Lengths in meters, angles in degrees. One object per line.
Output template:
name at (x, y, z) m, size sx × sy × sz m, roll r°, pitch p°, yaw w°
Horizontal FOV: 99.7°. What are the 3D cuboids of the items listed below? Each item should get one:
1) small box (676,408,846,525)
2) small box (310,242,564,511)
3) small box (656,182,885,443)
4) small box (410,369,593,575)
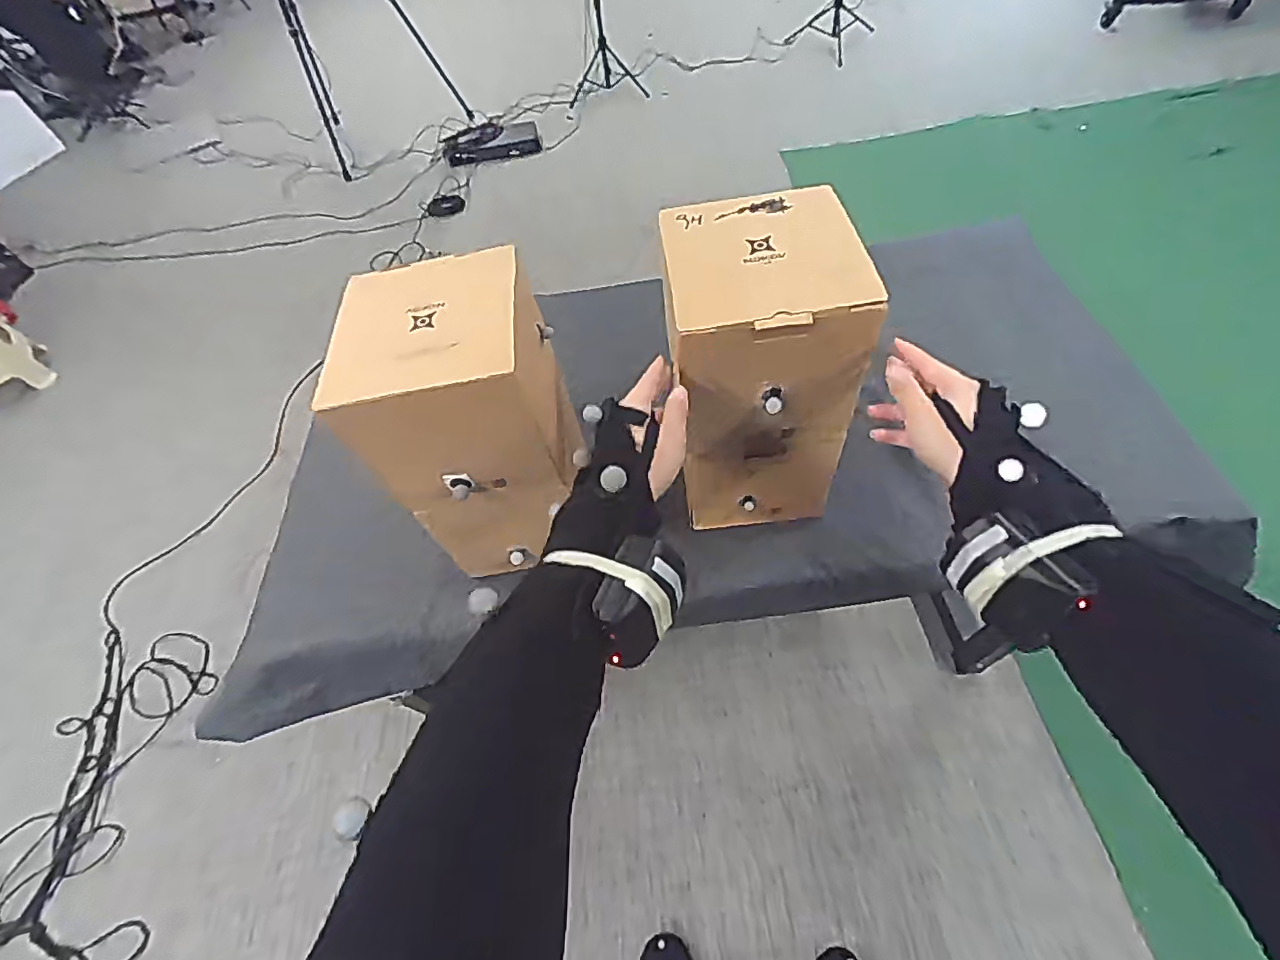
small box at (0.131, -0.065, 0.663) m, size 0.168 × 0.176 × 0.179 m, roll -7°, pitch 56°, yaw 3°
small box at (-0.176, -0.095, 0.527) m, size 0.168 × 0.176 × 0.179 m, roll -11°, pitch 56°, yaw 2°
small box at (0.111, -0.150, 0.525) m, size 0.168 × 0.176 × 0.179 m, roll -7°, pitch 57°, yaw 3°
small box at (-0.156, -0.006, 0.662) m, size 0.168 × 0.176 × 0.179 m, roll -10°, pitch 56°, yaw 1°
